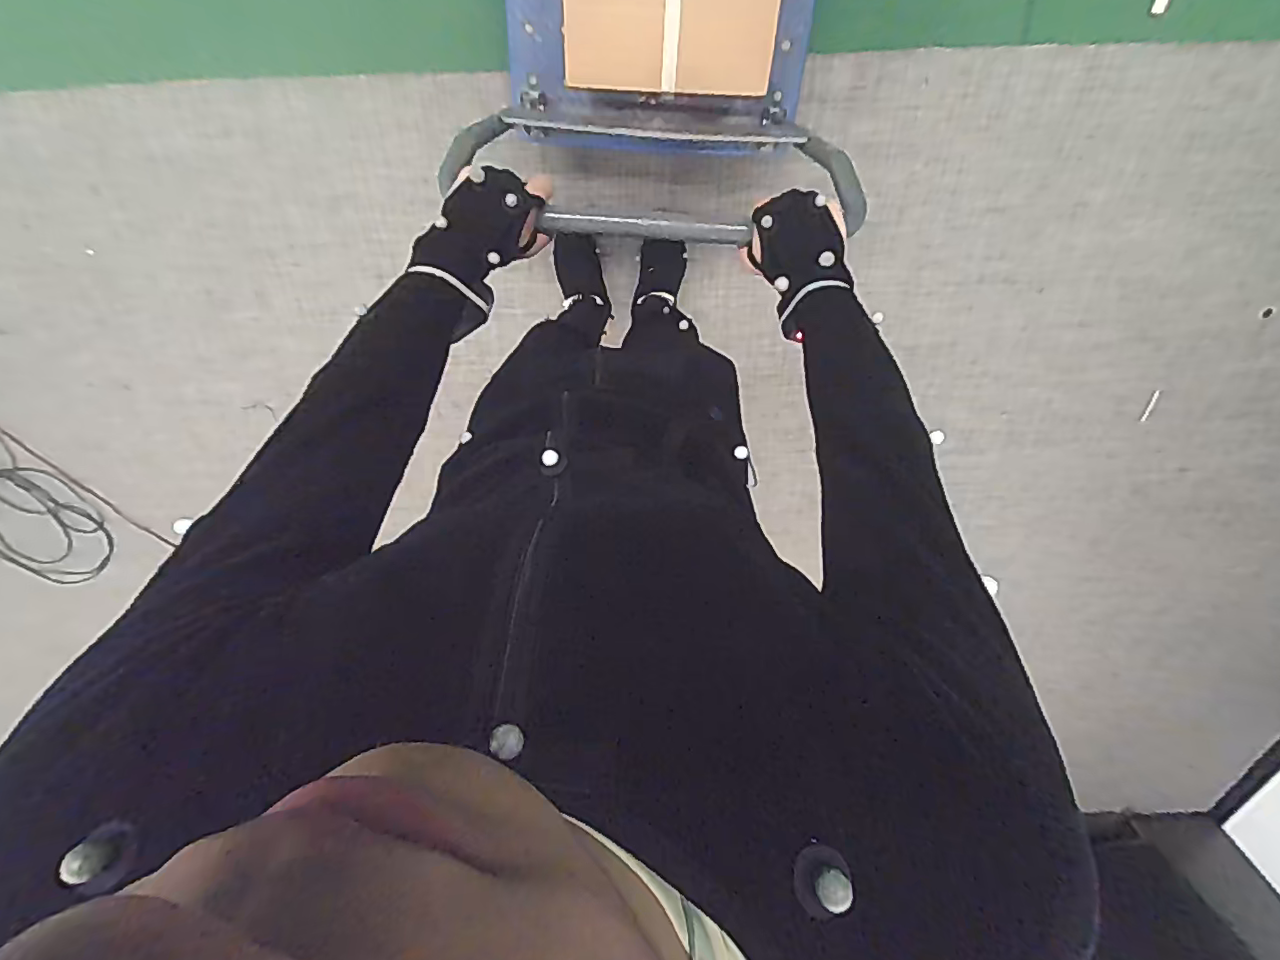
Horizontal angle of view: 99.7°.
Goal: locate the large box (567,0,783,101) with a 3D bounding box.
[{"bbox_3d":[0.059,-0.844,0.849,0.320,0.320,0.408,3,125,-1],"label":"large box"}]
